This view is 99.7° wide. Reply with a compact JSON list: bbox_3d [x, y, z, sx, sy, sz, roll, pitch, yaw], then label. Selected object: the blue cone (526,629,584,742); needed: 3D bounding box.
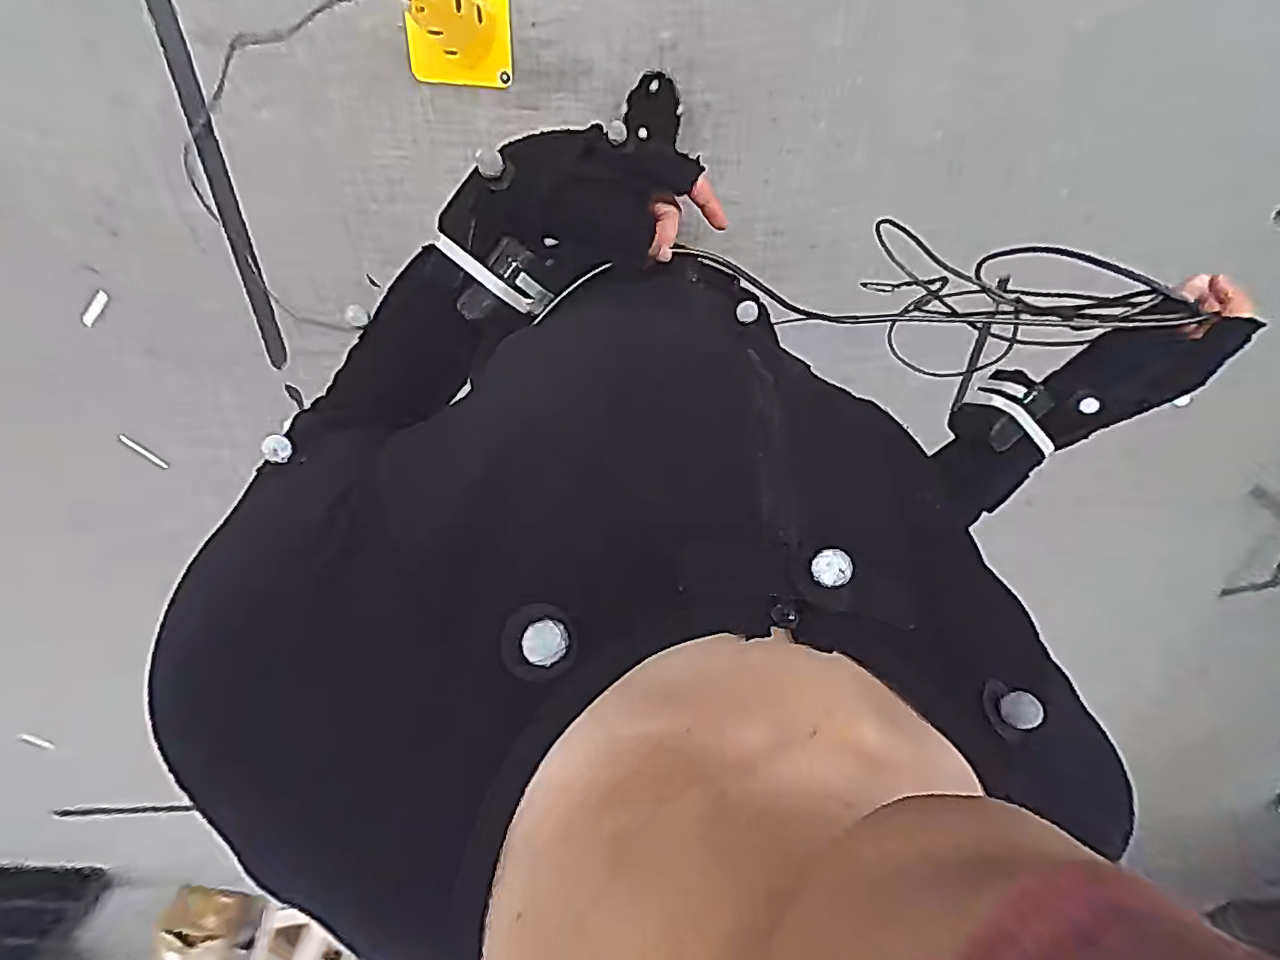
[{"bbox_3d":[-0.298,0.700,1.828,0.192,0.380,0.193,-5,122,0],"label":"blue cone"}]
